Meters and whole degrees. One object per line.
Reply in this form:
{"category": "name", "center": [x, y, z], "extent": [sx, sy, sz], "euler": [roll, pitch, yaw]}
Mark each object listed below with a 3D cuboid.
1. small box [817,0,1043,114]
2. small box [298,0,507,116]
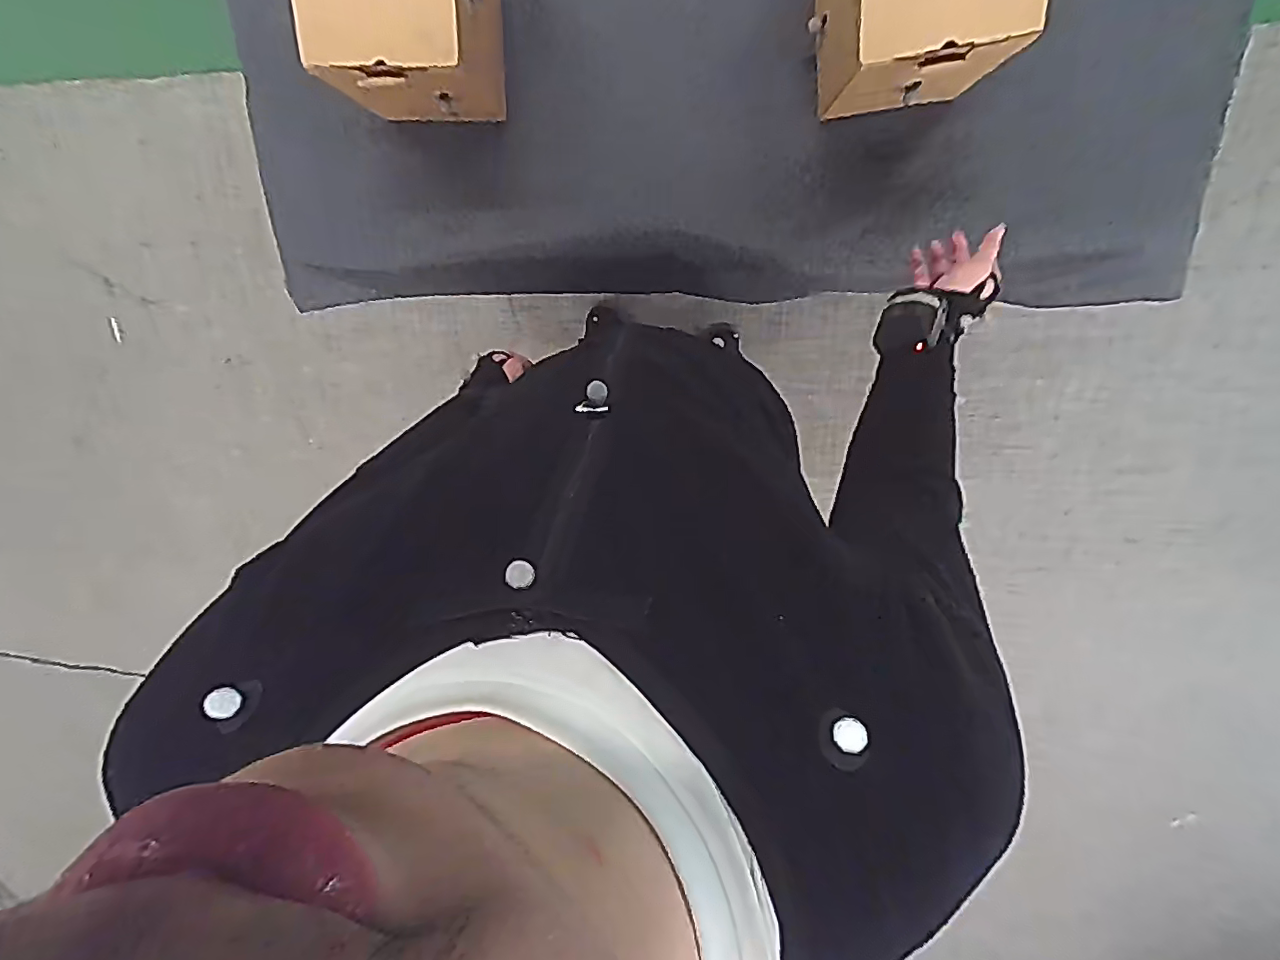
{"category": "small box", "center": [0.288, -0.508, 0.563], "extent": [0.168, 0.176, 0.179], "euler": [-6, 108, 5]}
{"category": "small box", "center": [-0.249, -0.525, 0.594], "extent": [0.168, 0.176, 0.179], "euler": [3, 107, 1]}
